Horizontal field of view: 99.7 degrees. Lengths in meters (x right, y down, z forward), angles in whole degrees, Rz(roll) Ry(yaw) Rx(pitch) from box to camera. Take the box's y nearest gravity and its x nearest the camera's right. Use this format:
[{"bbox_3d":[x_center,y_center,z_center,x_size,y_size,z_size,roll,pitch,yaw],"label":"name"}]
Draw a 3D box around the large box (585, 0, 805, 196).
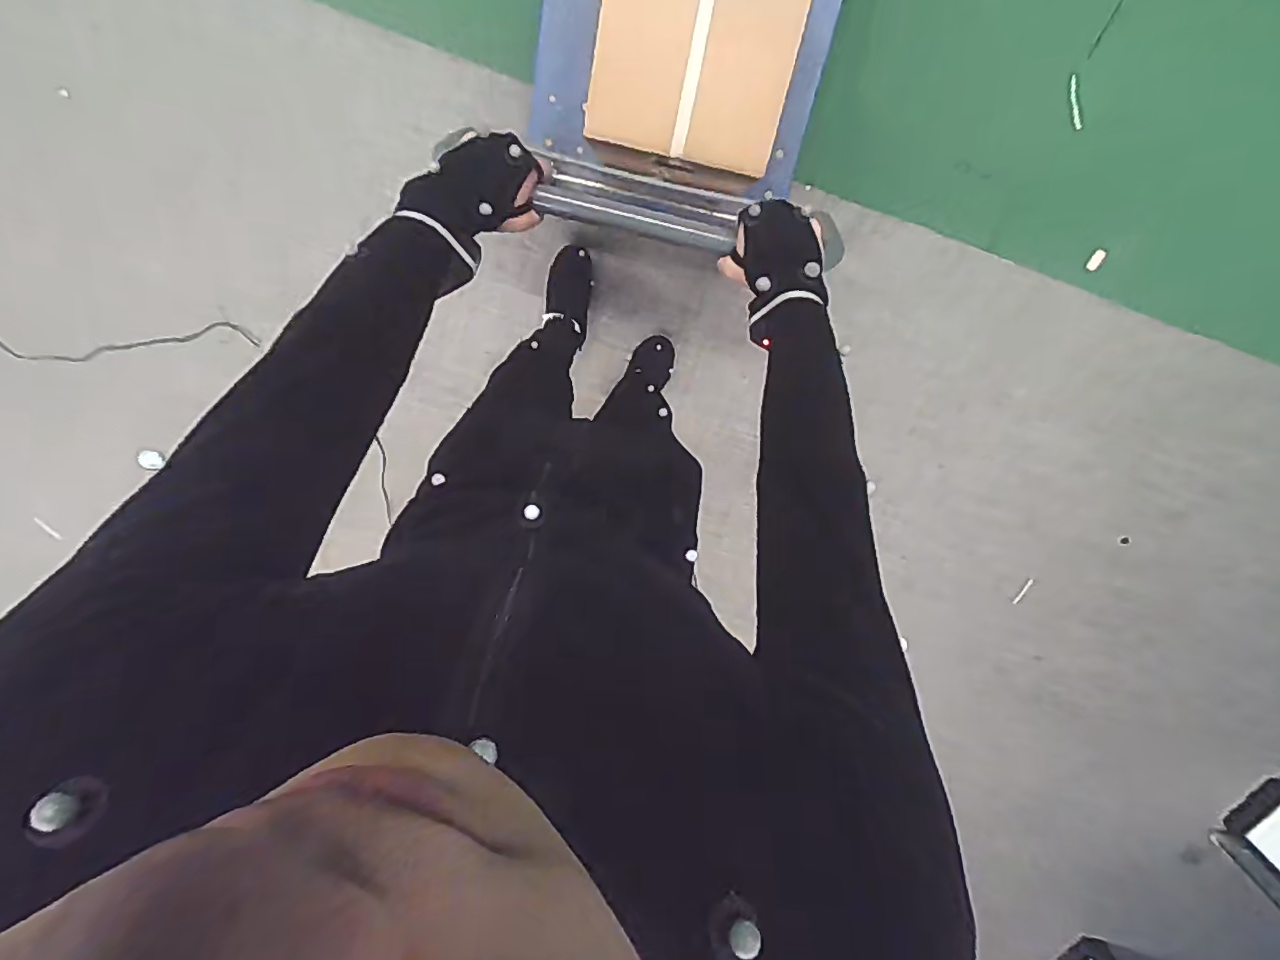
[{"bbox_3d":[0.097,-0.772,0.974,0.320,0.320,0.408,11,112,-4],"label":"large box"}]
